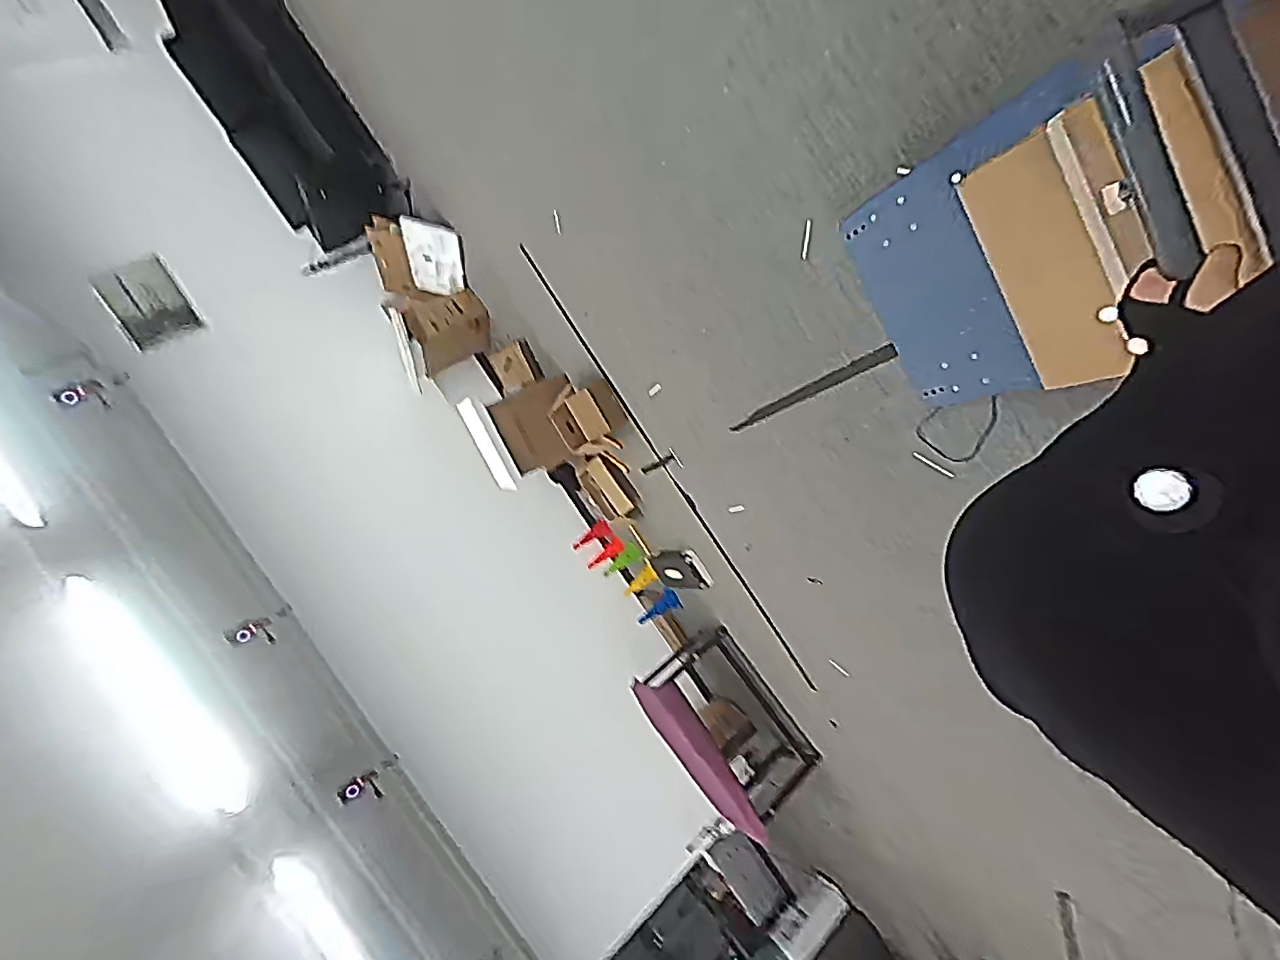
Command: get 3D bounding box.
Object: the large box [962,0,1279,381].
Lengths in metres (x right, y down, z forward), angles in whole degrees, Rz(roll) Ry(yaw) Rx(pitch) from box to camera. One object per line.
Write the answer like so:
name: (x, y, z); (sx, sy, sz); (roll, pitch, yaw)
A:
large box: (0.816, -0.430, 0.858); (0.408, 0.320, 0.320); (60, 156, -8)
